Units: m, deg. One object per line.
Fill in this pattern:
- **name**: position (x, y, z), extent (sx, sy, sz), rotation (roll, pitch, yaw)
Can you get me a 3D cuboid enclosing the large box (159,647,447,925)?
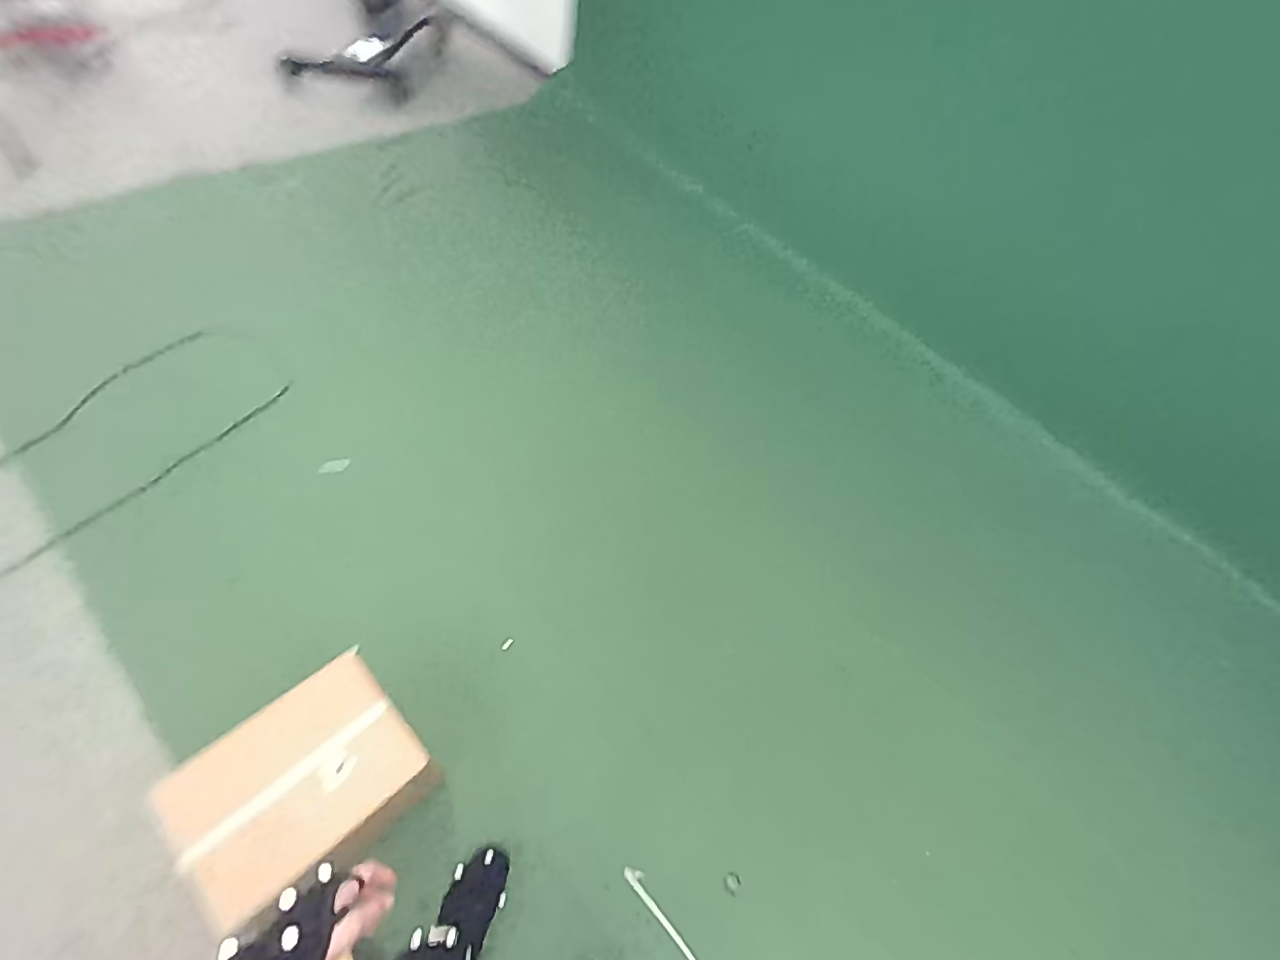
- **large box**: position (-0.704, 0.661, 1.201), extent (0.408, 0.320, 0.320), rotation (-36, 70, -29)
